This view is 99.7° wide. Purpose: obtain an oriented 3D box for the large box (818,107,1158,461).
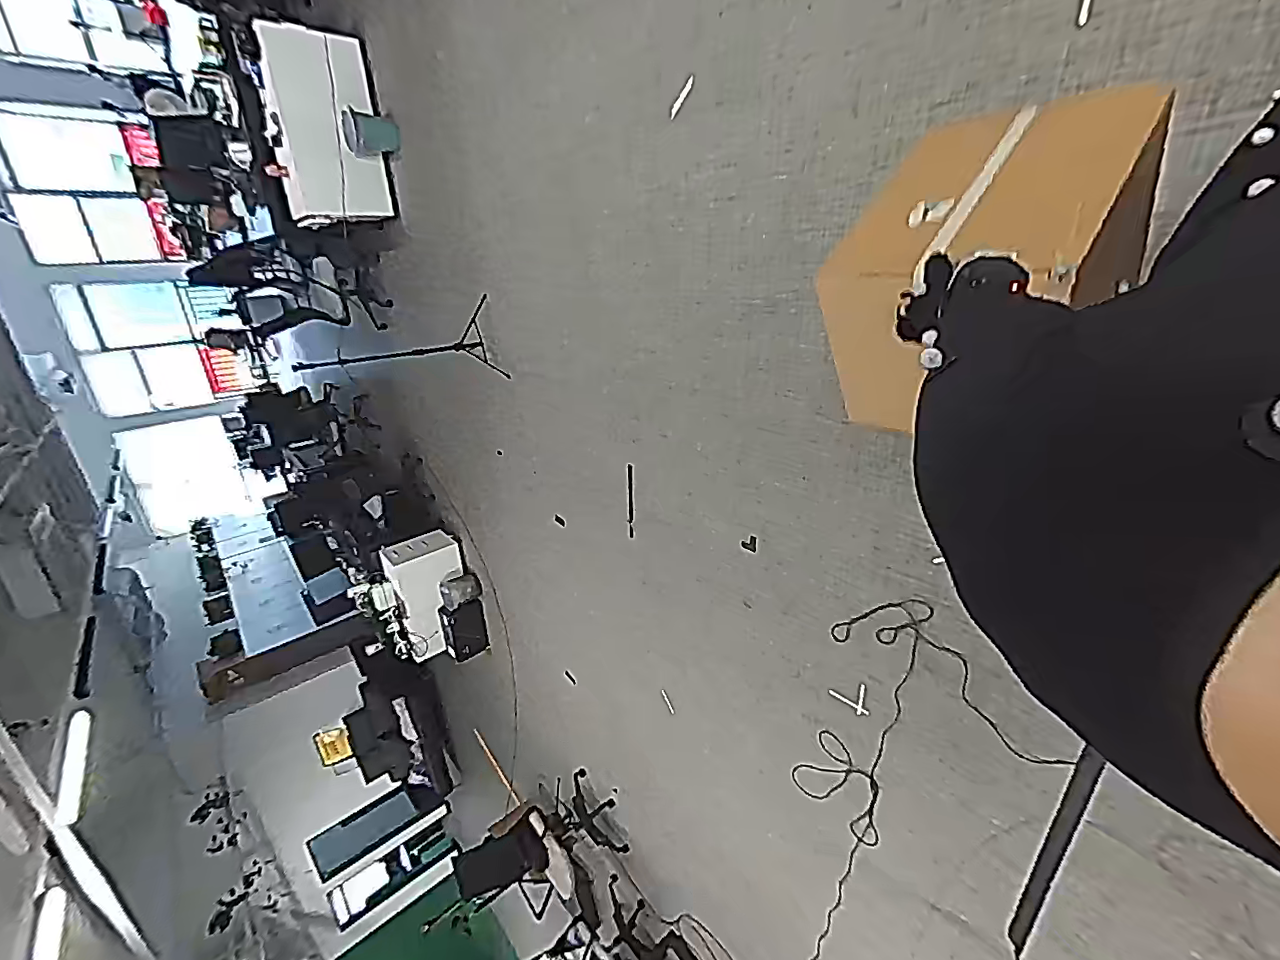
[{"bbox_3d":[0.544,-0.299,0.859,0.320,0.408,0.320,19,152,45],"label":"large box"}]
